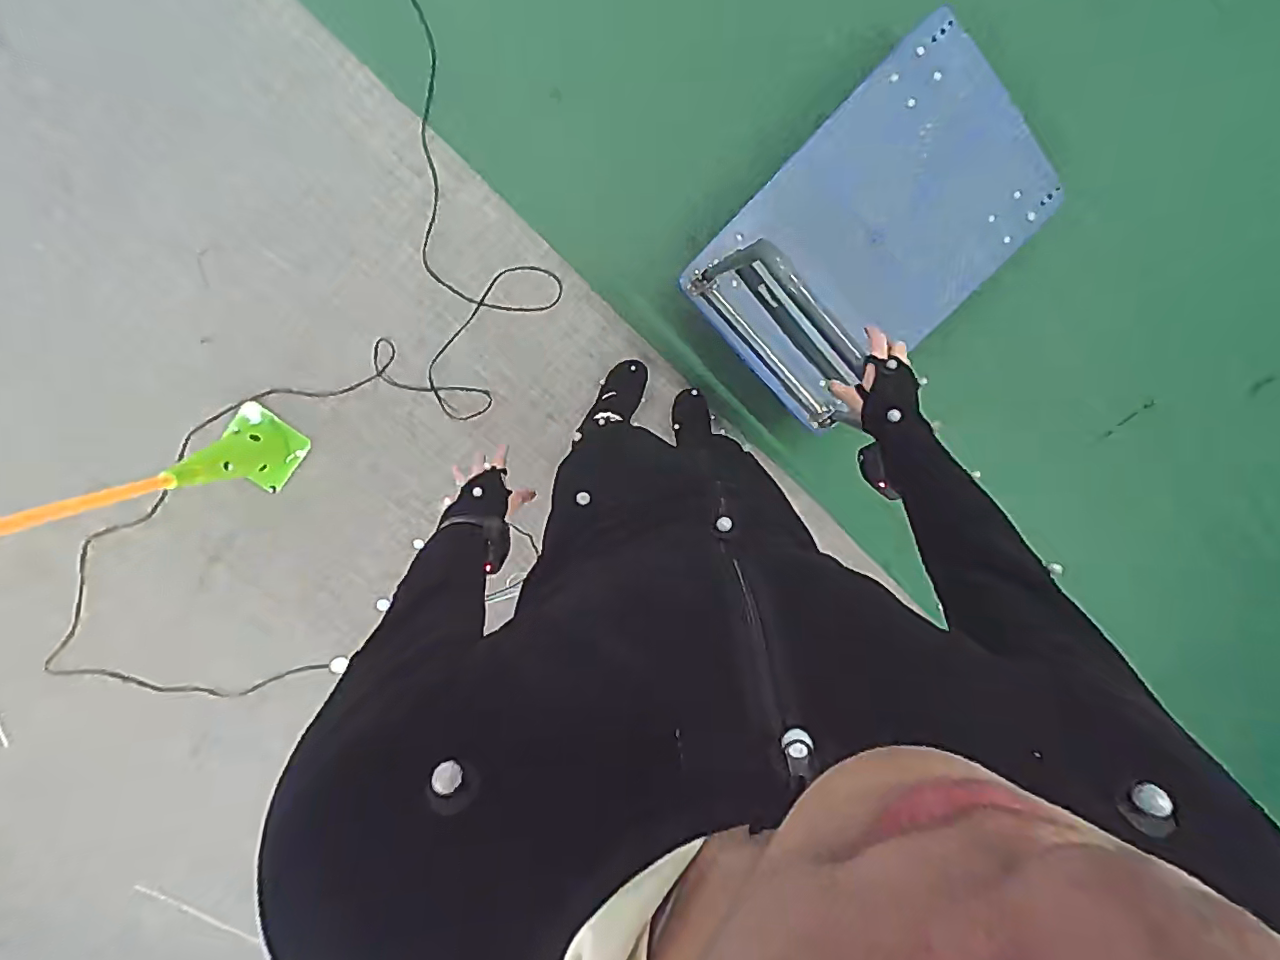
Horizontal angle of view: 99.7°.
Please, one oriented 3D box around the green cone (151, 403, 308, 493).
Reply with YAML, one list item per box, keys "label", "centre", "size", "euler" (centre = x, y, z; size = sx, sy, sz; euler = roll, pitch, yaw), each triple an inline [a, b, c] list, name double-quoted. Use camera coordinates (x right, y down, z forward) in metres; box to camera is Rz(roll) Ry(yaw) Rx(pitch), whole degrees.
- label: "green cone"
  centre: [-1.048, -0.048, 1.345]
  size: [0.202, 0.368, 0.200]
  euler: [38, 98, -11]
